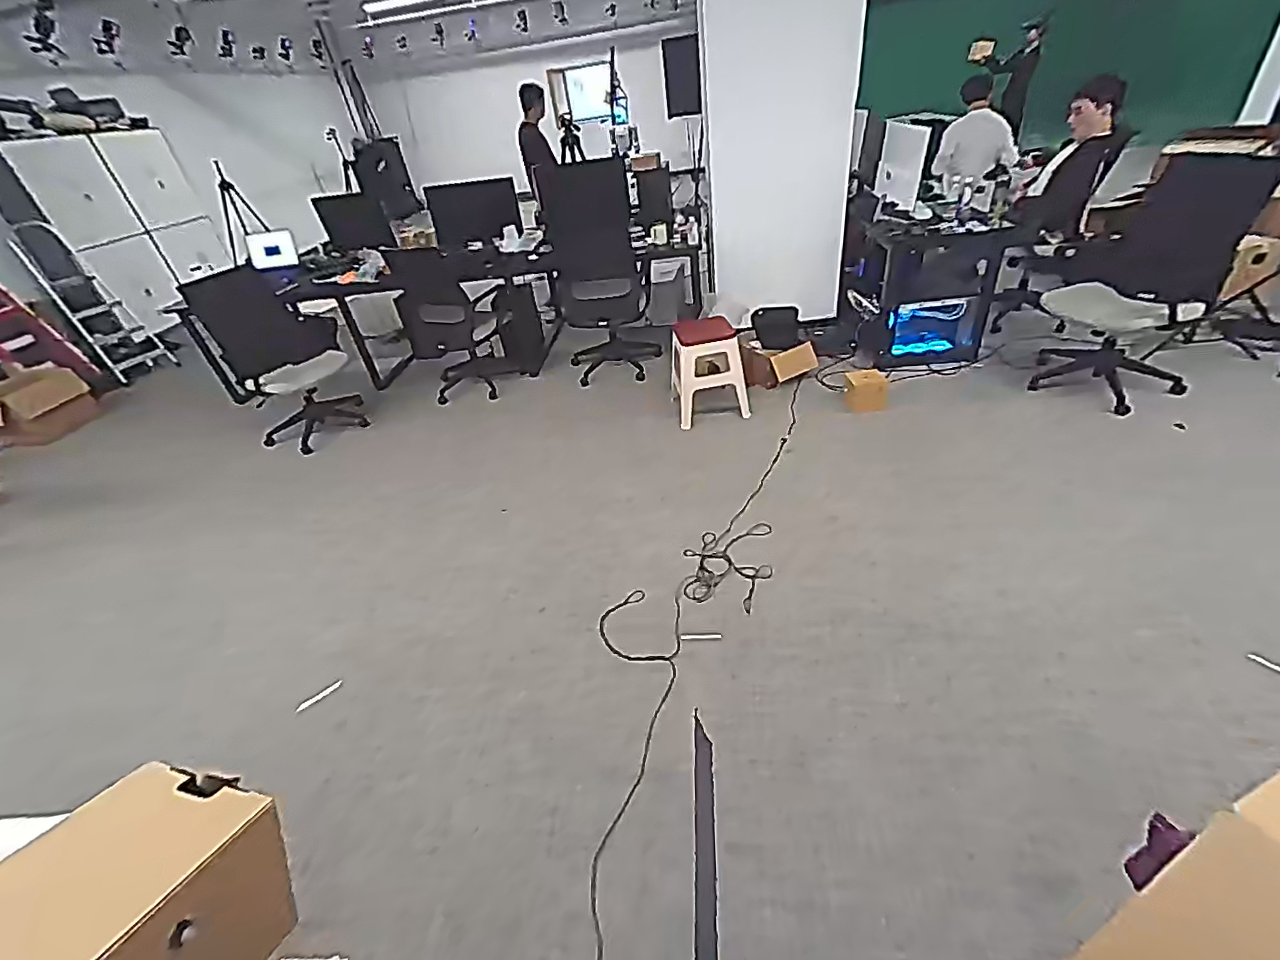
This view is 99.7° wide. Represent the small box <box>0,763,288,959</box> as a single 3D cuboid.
[{"bbox_3d":[-0.458,0.404,0.488,0.168,0.176,0.179,7,16,14],"label":"small box"}]
